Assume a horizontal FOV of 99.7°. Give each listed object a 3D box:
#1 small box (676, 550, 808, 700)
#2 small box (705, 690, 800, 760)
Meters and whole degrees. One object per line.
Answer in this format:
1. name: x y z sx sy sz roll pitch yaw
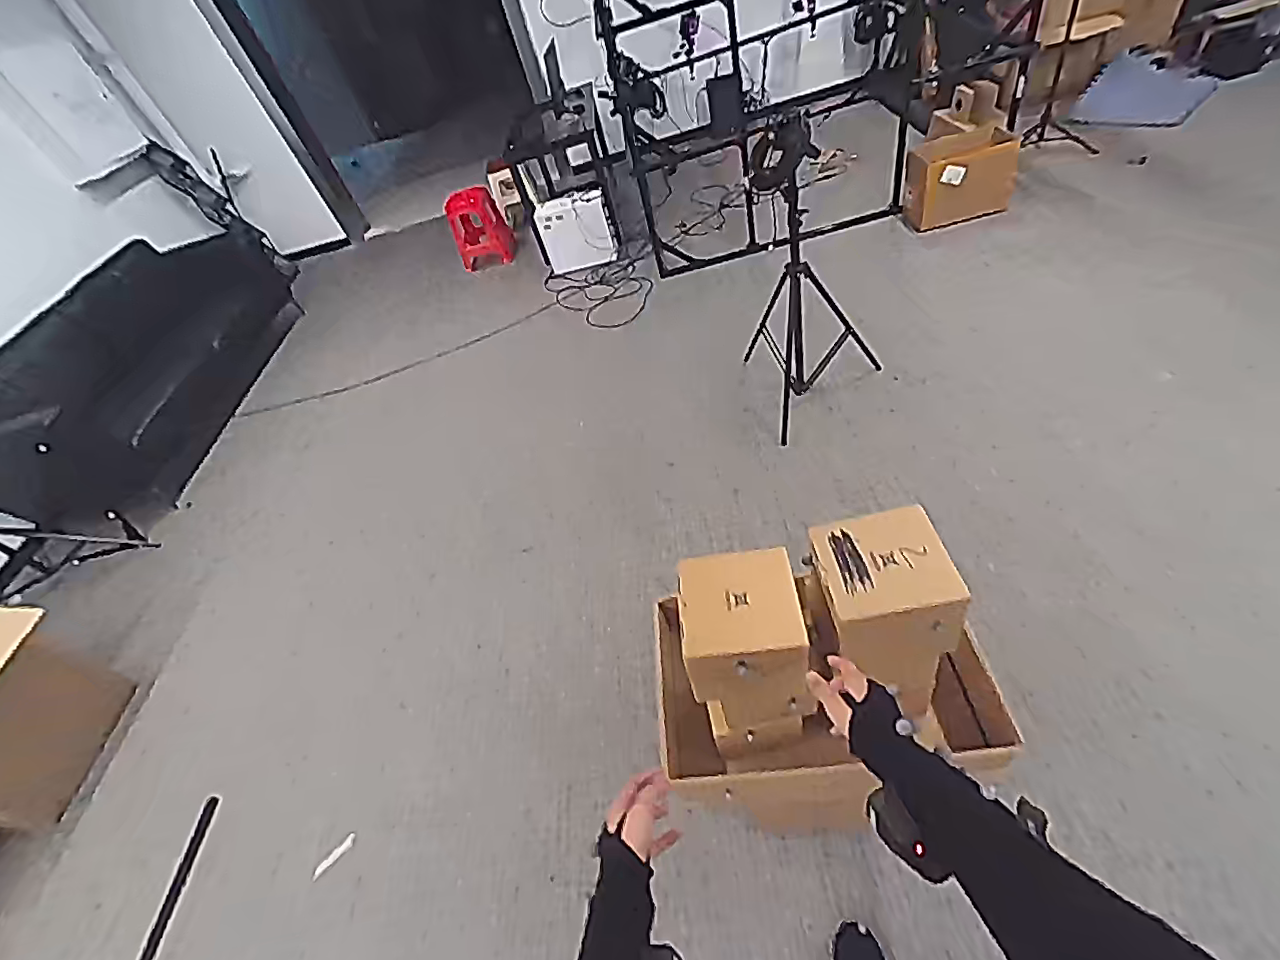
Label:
1. small box: 0.158 0.234 0.856 0.179 0.176 0.168 -9 47 8
2. small box: 0.218 0.441 1.099 0.168 0.176 0.179 -15 46 5
